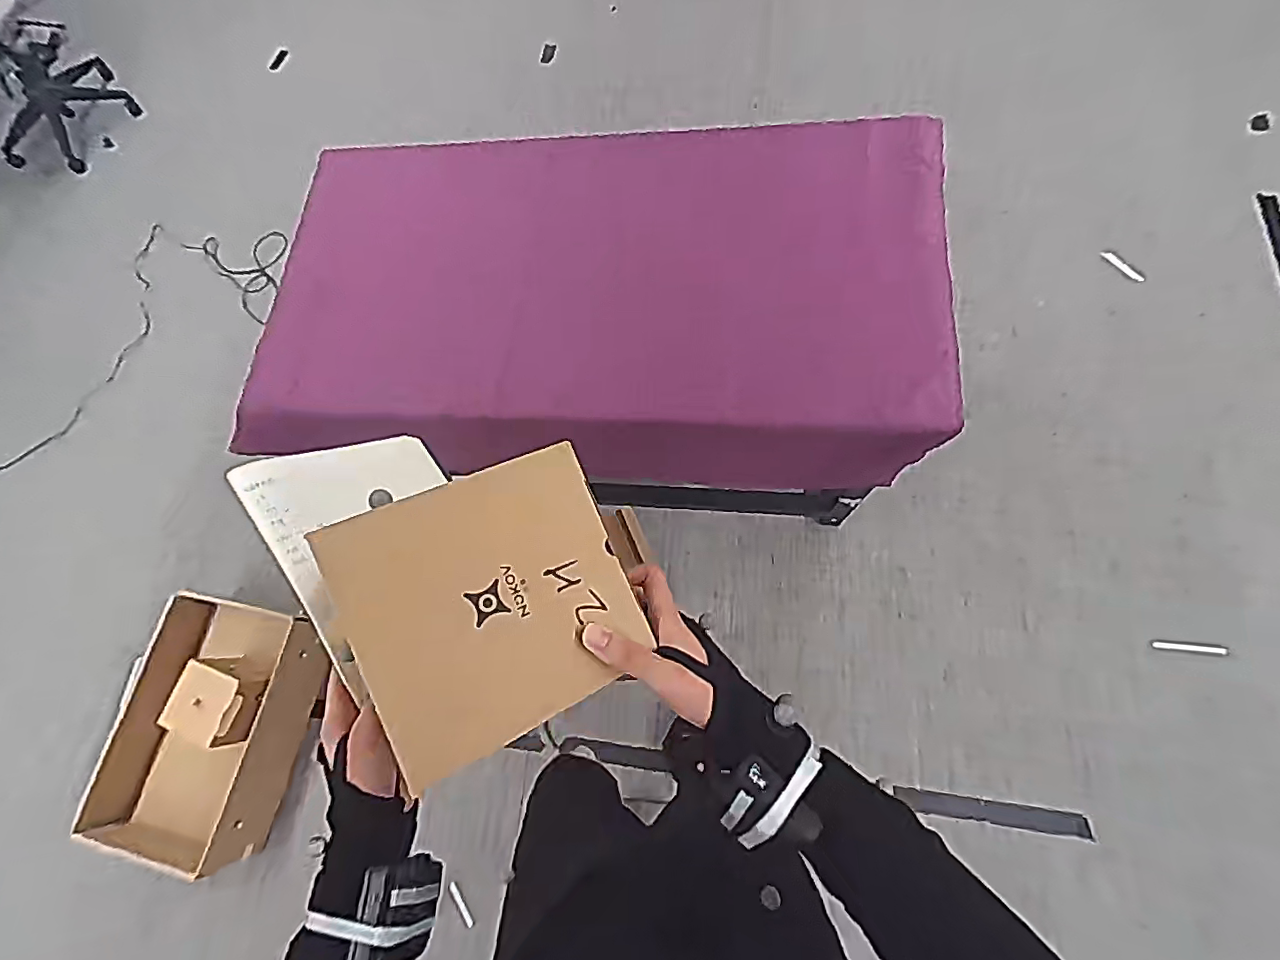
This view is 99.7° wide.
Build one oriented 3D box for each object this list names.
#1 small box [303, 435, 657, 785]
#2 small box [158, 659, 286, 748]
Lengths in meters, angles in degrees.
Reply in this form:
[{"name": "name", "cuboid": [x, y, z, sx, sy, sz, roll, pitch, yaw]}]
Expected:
[{"name": "small box", "cuboid": [-0.120, 0.086, 0.411, 0.179, 0.176, 0.168, -22, 88, -26]}, {"name": "small box", "cuboid": [-1.095, 0.580, 1.433, 0.179, 0.176, 0.168, 17, 76, 13]}]
